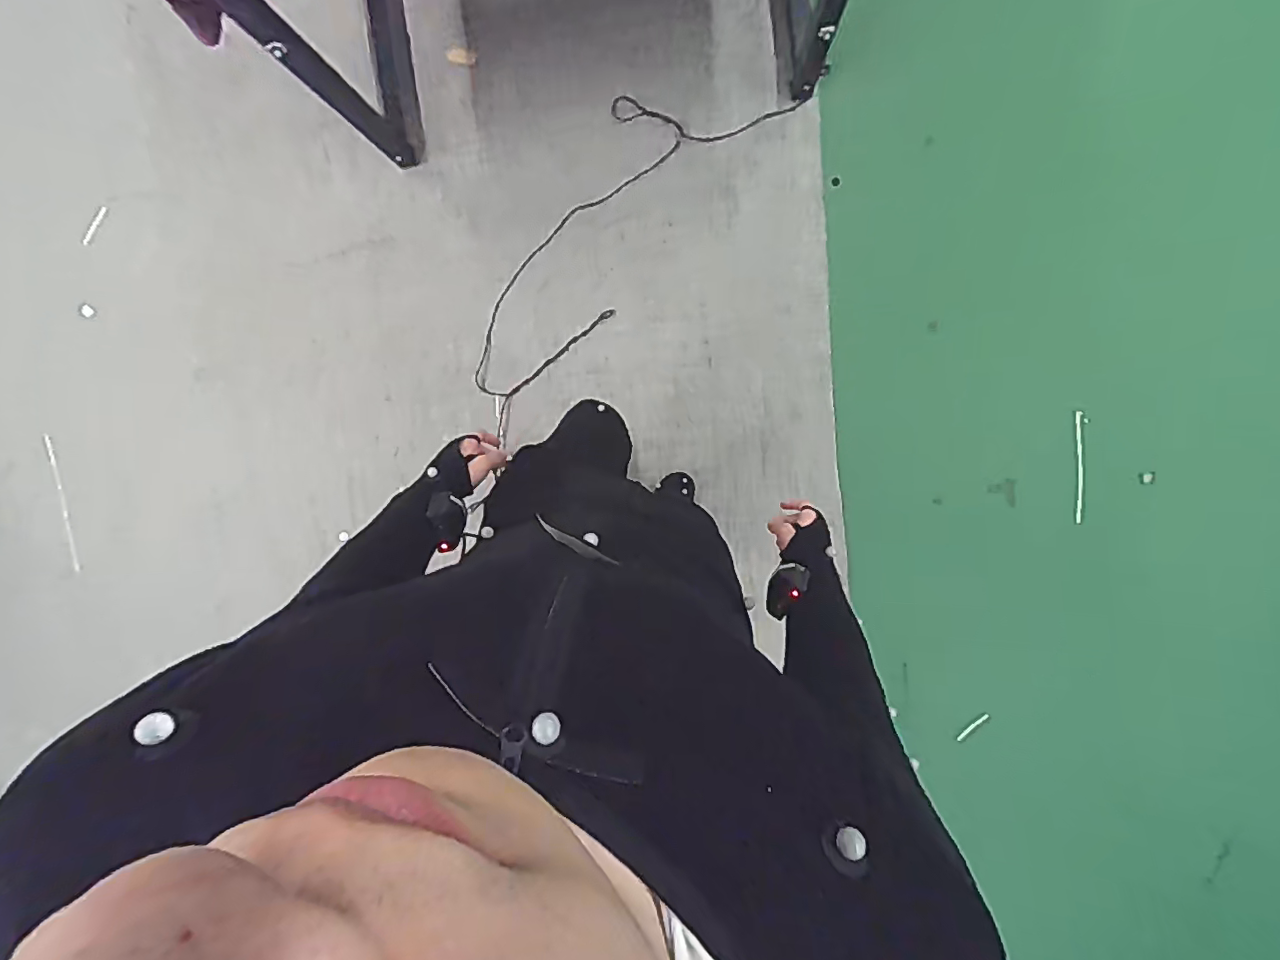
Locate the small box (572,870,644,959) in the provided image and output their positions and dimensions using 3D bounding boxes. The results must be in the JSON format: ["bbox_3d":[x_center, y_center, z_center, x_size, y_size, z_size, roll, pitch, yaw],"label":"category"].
[{"bbox_3d":[-0.084,1.226,1.509,0.168,0.176,0.179,-8,97,6],"label":"small box"}]

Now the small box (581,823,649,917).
[{"bbox_3d":[-0.071,1.208,1.671,0.168,0.176,0.179,-11,95,6],"label":"small box"}]
